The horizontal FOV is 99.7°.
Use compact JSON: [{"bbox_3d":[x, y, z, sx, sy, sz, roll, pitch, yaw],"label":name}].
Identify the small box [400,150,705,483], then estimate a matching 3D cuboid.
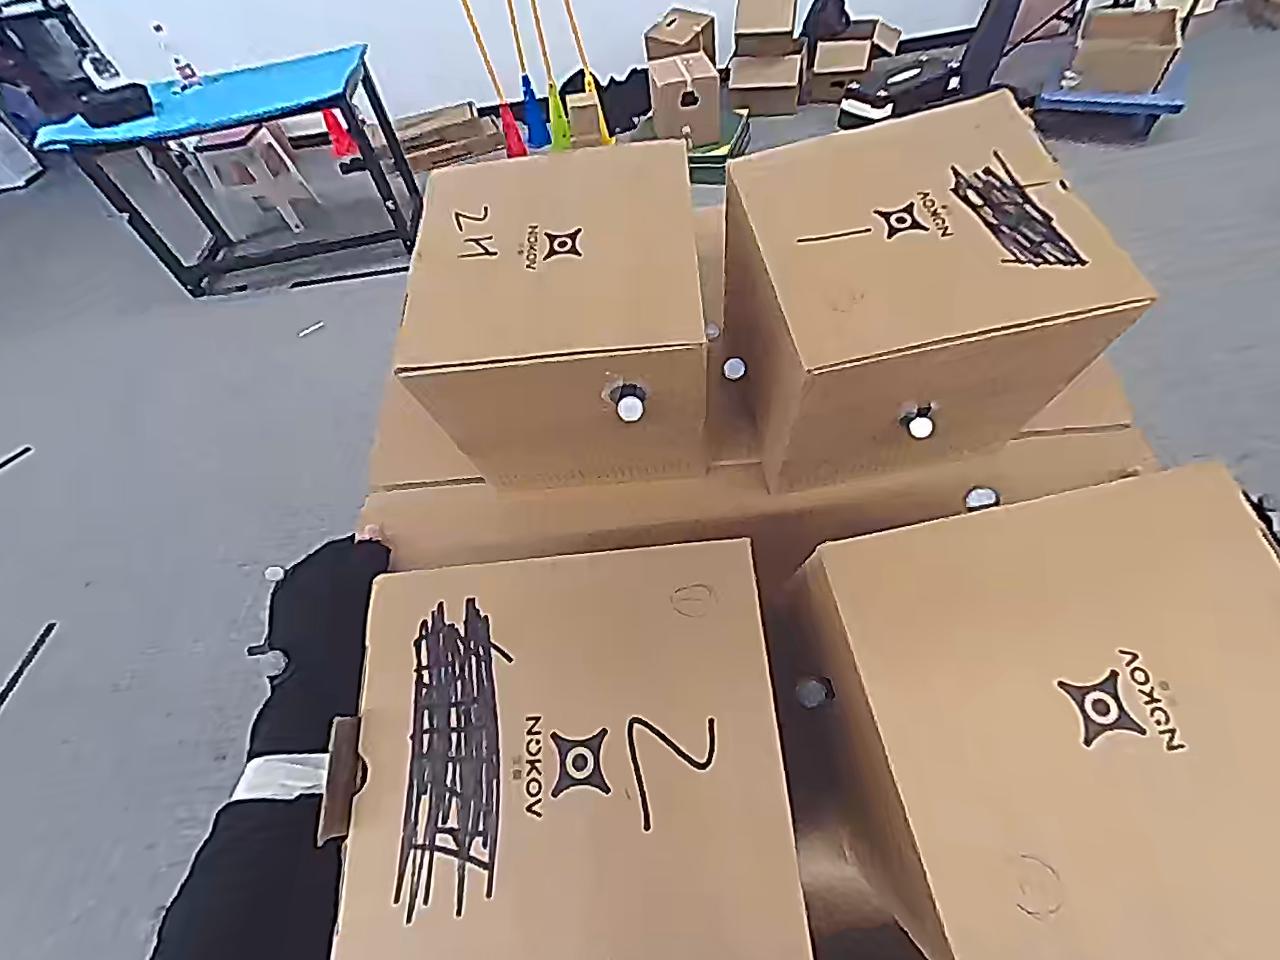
[{"bbox_3d":[-0.044,-0.107,0.406,0.179,0.176,0.168,-4,65,6],"label":"small box"}]
